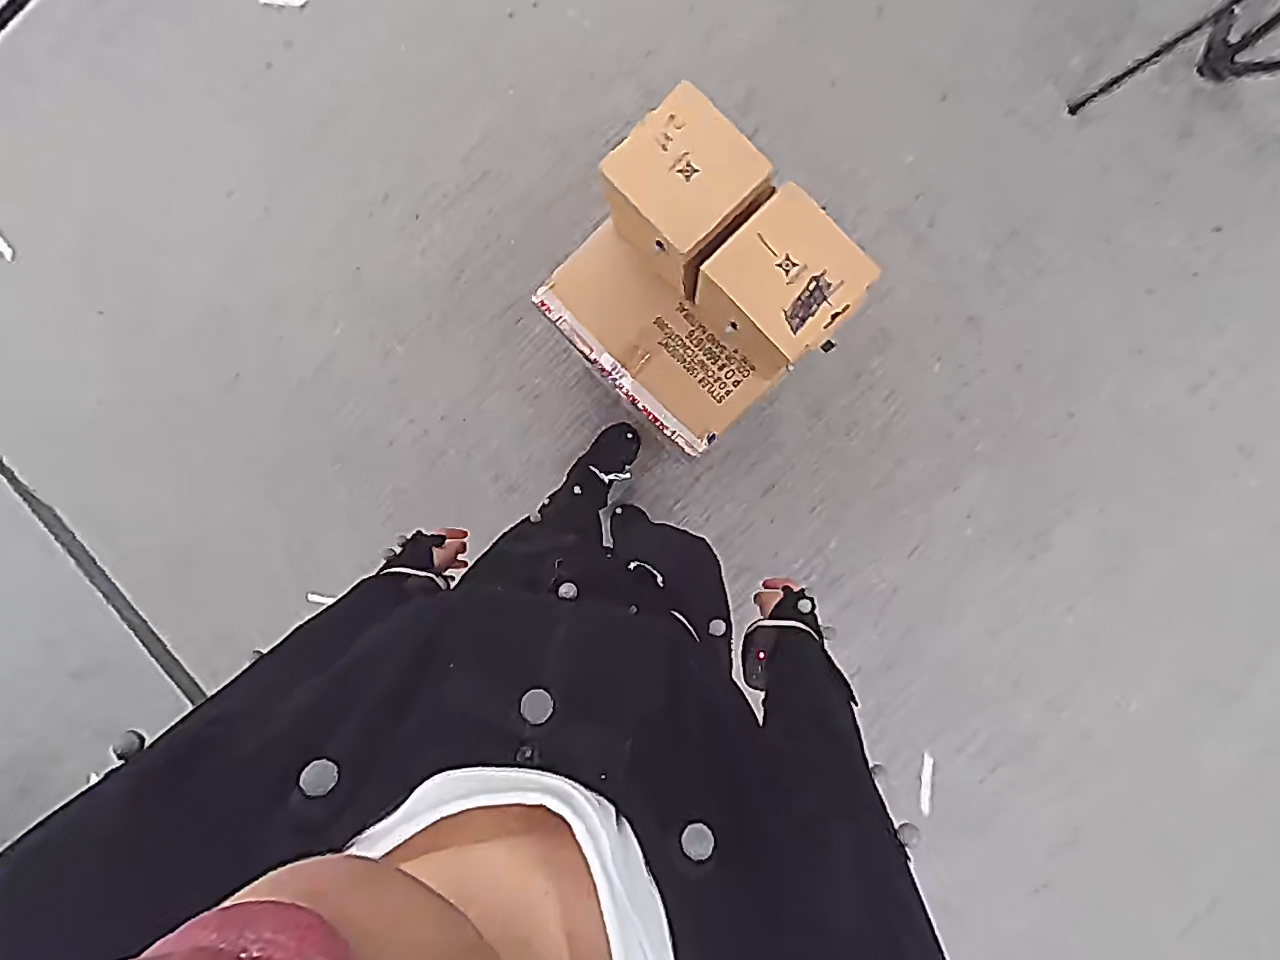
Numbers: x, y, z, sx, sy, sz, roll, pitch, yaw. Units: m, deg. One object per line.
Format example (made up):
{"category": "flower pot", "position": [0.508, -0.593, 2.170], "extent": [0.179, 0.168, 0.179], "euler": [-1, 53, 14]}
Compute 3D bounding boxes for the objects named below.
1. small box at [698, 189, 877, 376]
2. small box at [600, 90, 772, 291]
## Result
{"category": "small box", "position": [0.202, -0.271, 0.795], "extent": [0.168, 0.176, 0.179], "euler": [-43, 88, 4]}
{"category": "small box", "position": [0.069, -0.407, 0.803], "extent": [0.168, 0.176, 0.179], "euler": [-42, 85, 3]}
